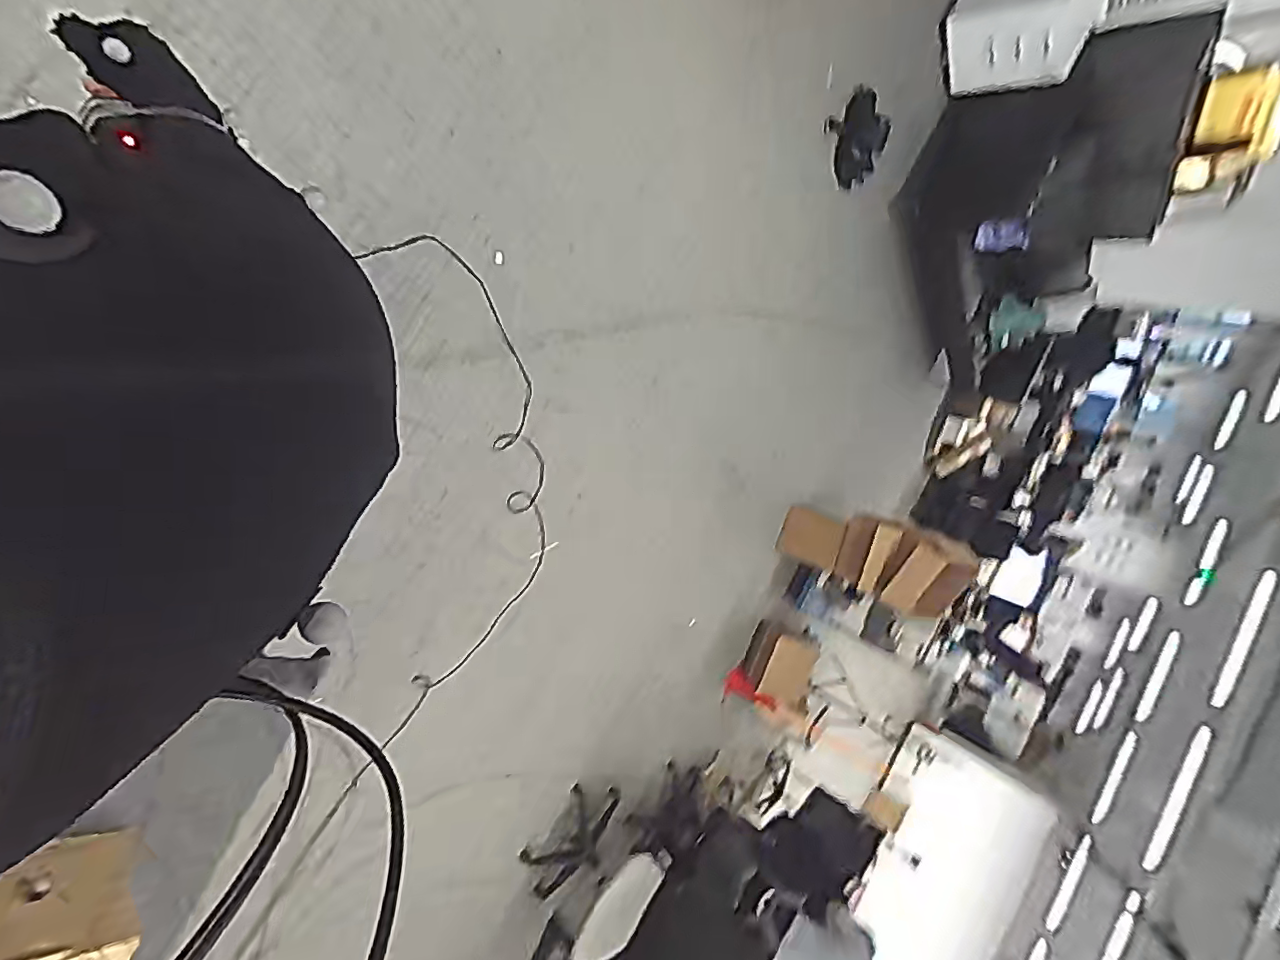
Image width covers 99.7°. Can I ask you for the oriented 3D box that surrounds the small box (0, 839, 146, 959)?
[{"bbox_3d":[-0.684,0.522,0.578,0.168,0.176,0.179,31,84,-50],"label":"small box"}]
